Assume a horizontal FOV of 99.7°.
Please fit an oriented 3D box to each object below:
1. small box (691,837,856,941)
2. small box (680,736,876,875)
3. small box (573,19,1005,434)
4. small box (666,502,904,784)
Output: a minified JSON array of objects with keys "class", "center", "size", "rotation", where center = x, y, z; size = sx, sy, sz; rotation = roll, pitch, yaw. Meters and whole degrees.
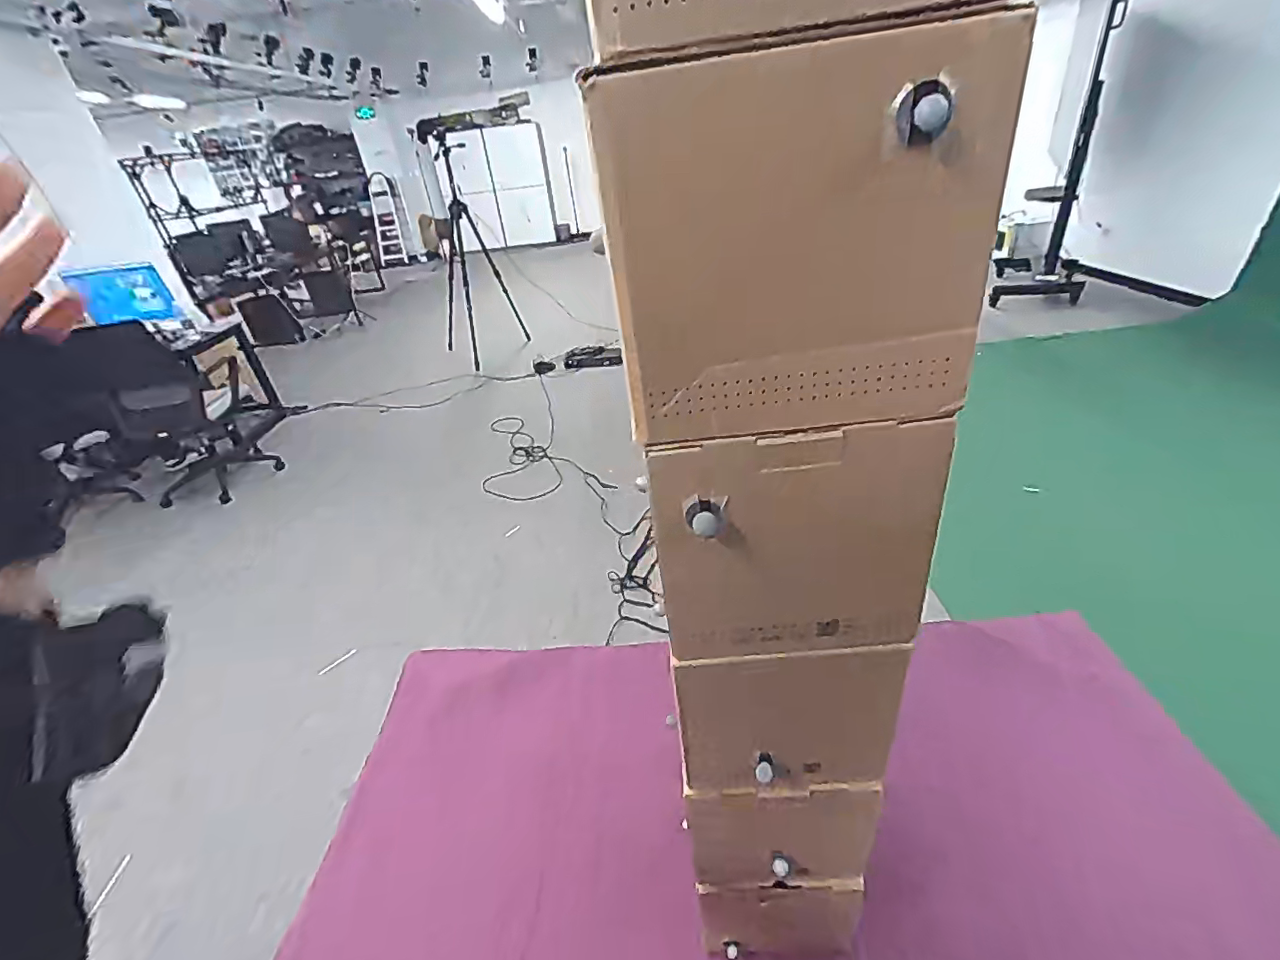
[{"class":"small box","center":[0.148,0.422,0.651],"size":[0.168,0.176,0.179],"rotation":[-5,32,5]},{"class":"small box","center":[0.128,0.280,0.571],"size":[0.168,0.176,0.179],"rotation":[-5,33,5]},{"class":"small box","center":[0.070,-0.136,0.322],"size":[0.179,0.176,0.168],"rotation":[-5,31,4]},{"class":"small box","center":[0.111,0.141,0.488],"size":[0.168,0.176,0.179],"rotation":[-6,32,4]}]
